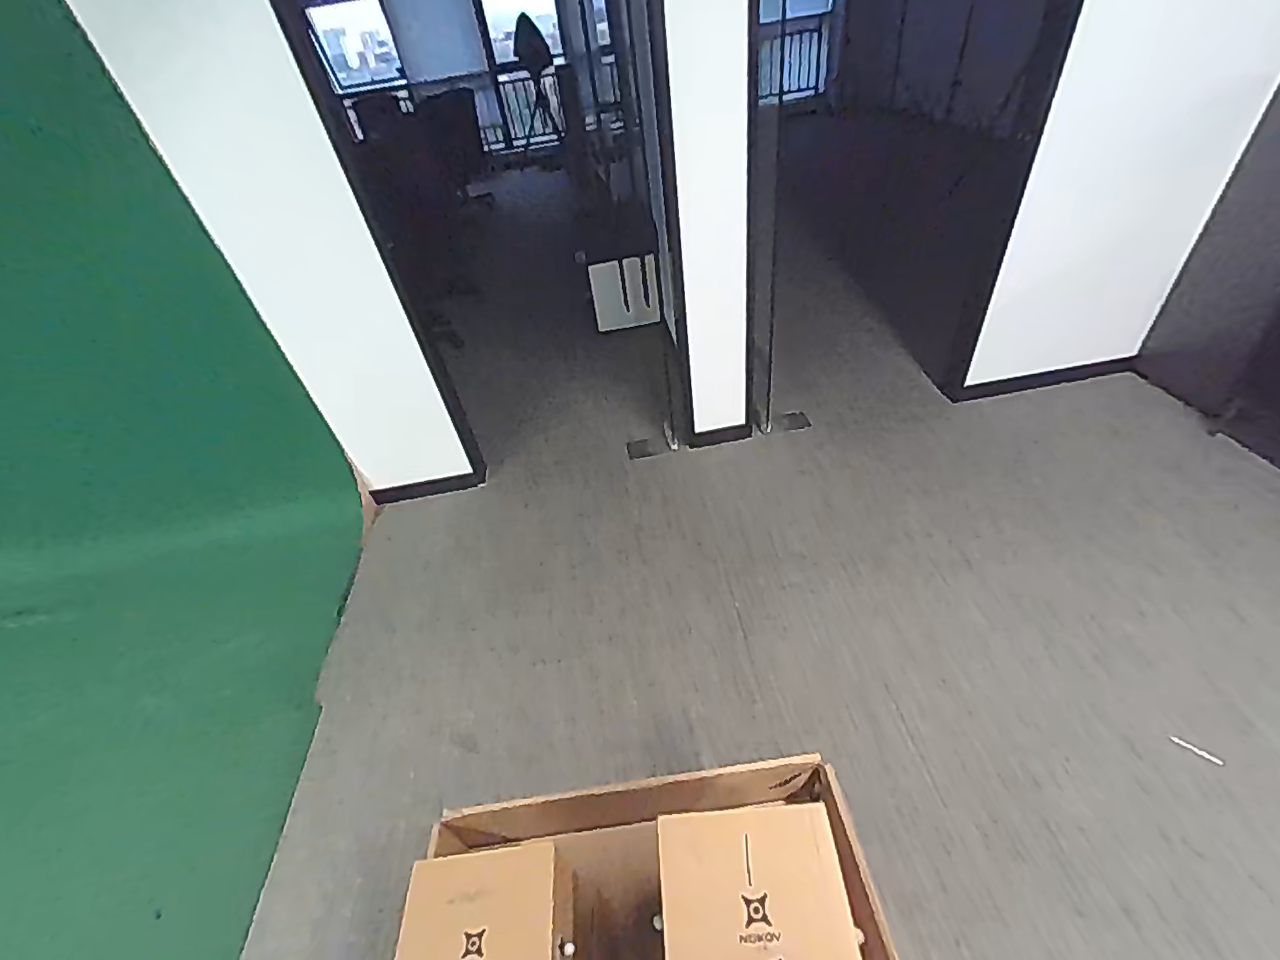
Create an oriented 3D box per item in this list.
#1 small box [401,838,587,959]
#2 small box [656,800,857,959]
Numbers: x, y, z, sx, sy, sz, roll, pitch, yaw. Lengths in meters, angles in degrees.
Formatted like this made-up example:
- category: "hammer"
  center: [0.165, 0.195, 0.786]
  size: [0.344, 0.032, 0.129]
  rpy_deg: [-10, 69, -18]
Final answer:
- category: "small box"
  center: [-0.157, 0.541, 0.616]
  size: [0.168, 0.176, 0.179]
  rpy_deg: [-9, 41, 2]
- category: "small box"
  center: [0.110, 0.434, 0.531]
  size: [0.168, 0.176, 0.179]
  rpy_deg: [-7, 48, 4]
